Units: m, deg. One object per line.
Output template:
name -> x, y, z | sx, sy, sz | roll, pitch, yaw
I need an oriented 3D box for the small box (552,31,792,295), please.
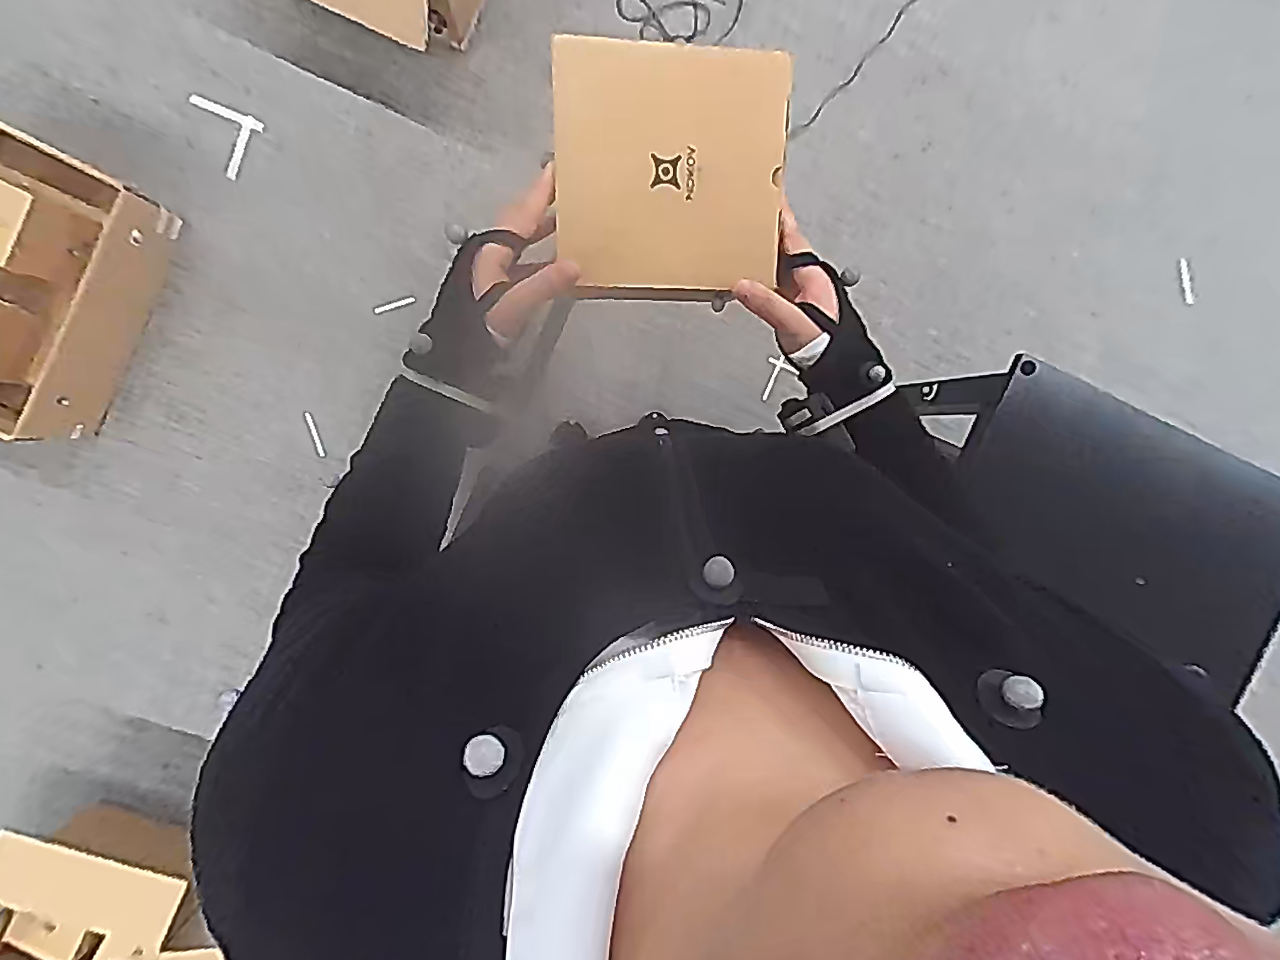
small box -> 0.015, -0.258, 0.484 | 0.179, 0.176, 0.168 | -1, 106, -7

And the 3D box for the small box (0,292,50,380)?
small box -> -1.499, -0.337, 1.204 | 0.168, 0.176, 0.179 | 27, 91, -9
